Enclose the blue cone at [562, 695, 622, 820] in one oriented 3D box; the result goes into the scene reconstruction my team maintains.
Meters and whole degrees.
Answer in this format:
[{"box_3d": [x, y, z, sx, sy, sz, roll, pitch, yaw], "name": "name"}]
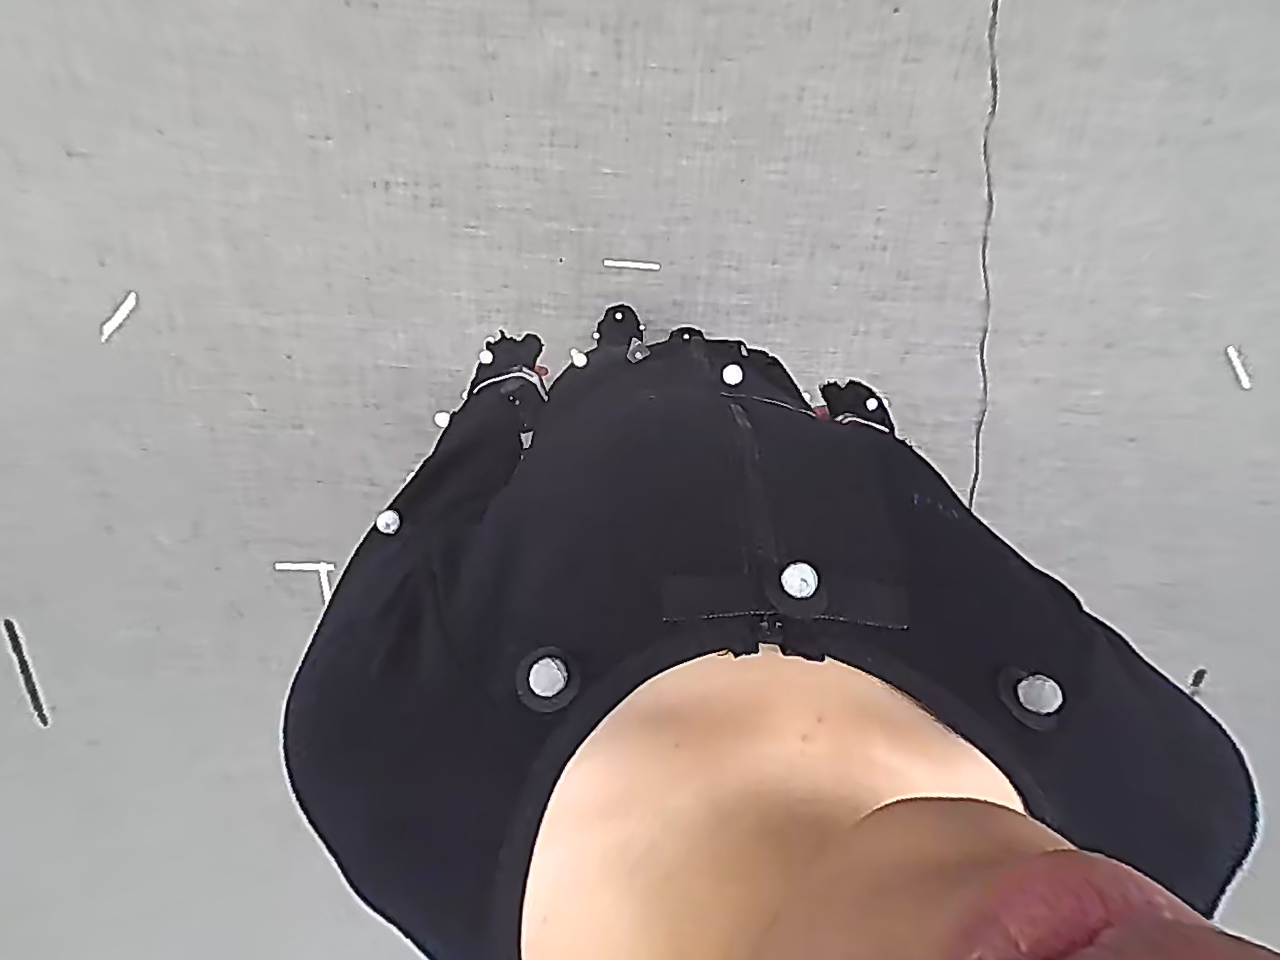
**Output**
[{"box_3d": [-0.156, 0.820, 1.583, 0.192, 0.380, 0.193, 0, 106, 1], "name": "blue cone"}]
